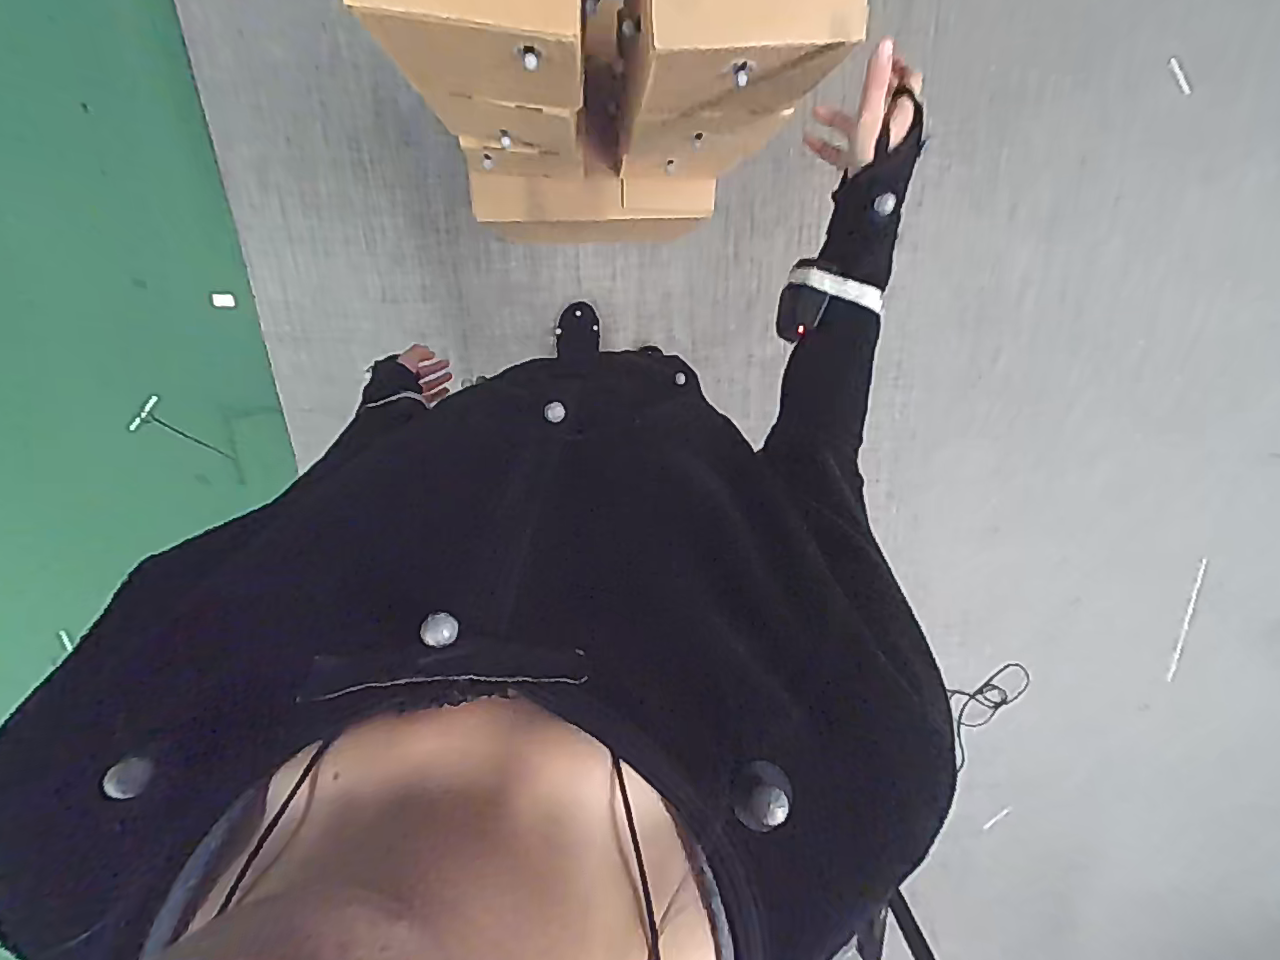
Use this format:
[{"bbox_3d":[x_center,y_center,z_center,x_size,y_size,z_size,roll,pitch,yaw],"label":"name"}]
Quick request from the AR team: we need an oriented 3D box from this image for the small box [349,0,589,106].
[{"bbox_3d":[-0.134,-0.450,0.467,0.179,0.176,0.168,2,108,-6],"label":"small box"}]
